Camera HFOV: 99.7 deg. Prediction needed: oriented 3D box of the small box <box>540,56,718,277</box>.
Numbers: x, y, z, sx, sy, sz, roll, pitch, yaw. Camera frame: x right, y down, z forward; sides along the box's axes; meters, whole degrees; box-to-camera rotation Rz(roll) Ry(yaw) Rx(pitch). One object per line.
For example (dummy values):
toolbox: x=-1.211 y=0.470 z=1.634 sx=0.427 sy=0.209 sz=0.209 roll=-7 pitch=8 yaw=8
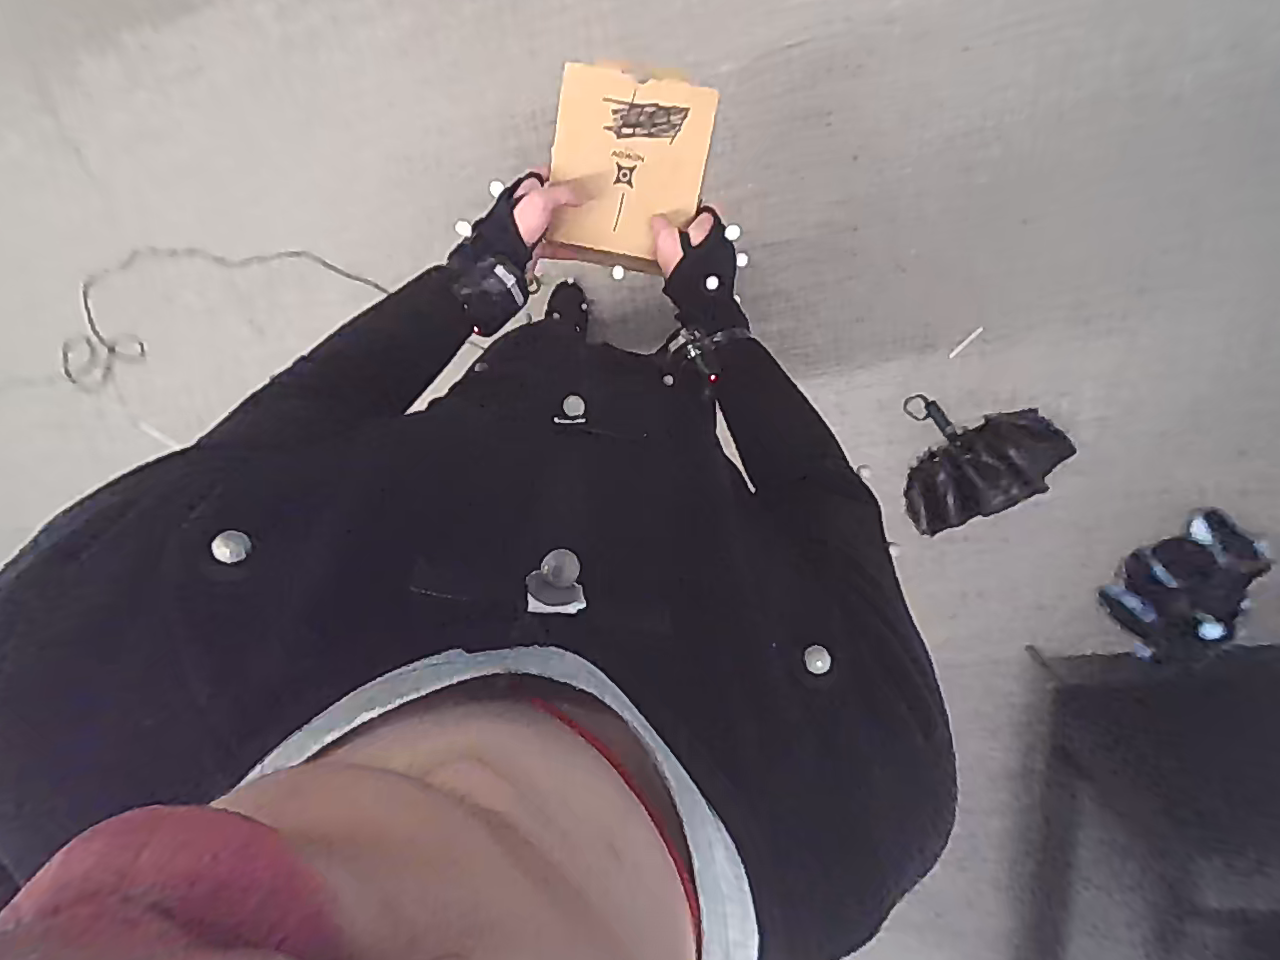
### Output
small box: x=-0.009 y=-0.356 z=0.648 sx=0.168 sy=0.176 sz=0.179 roll=12 pitch=106 yaw=3
